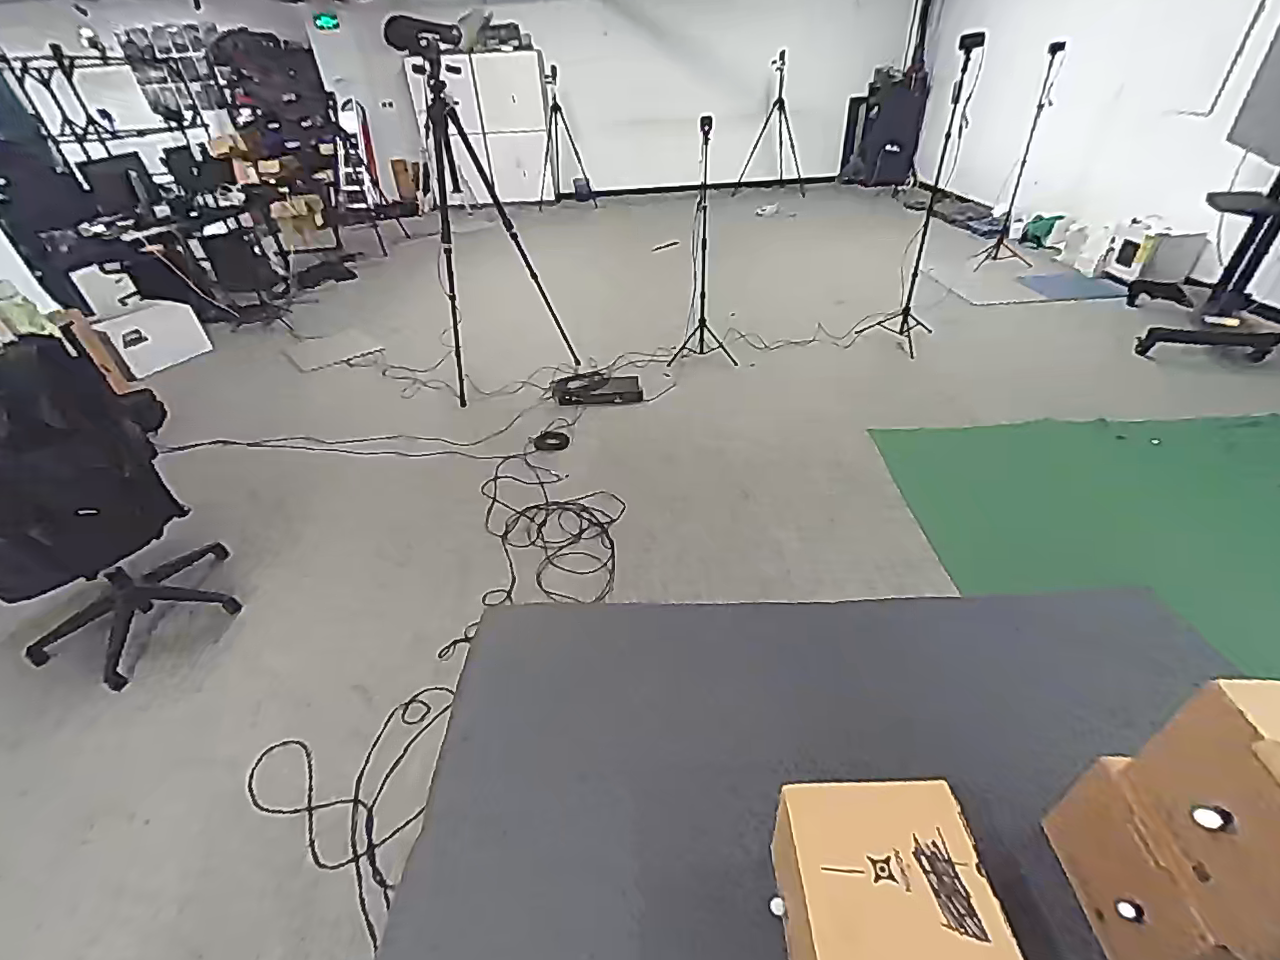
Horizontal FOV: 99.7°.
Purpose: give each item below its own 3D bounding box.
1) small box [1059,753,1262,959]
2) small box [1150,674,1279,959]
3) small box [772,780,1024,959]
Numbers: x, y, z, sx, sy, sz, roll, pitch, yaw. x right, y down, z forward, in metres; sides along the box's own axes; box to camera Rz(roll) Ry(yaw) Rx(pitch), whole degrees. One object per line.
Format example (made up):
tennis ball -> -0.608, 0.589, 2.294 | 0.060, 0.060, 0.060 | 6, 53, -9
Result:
small box -> 0.579, 0.406, 0.554 | 0.179, 0.176, 0.168 | 0, 37, 4
small box -> 0.581, 0.284, 0.443 | 0.179, 0.176, 0.168 | 1, 37, 7
small box -> 0.240, 0.430, 0.550 | 0.179, 0.176, 0.168 | -3, 35, 3
